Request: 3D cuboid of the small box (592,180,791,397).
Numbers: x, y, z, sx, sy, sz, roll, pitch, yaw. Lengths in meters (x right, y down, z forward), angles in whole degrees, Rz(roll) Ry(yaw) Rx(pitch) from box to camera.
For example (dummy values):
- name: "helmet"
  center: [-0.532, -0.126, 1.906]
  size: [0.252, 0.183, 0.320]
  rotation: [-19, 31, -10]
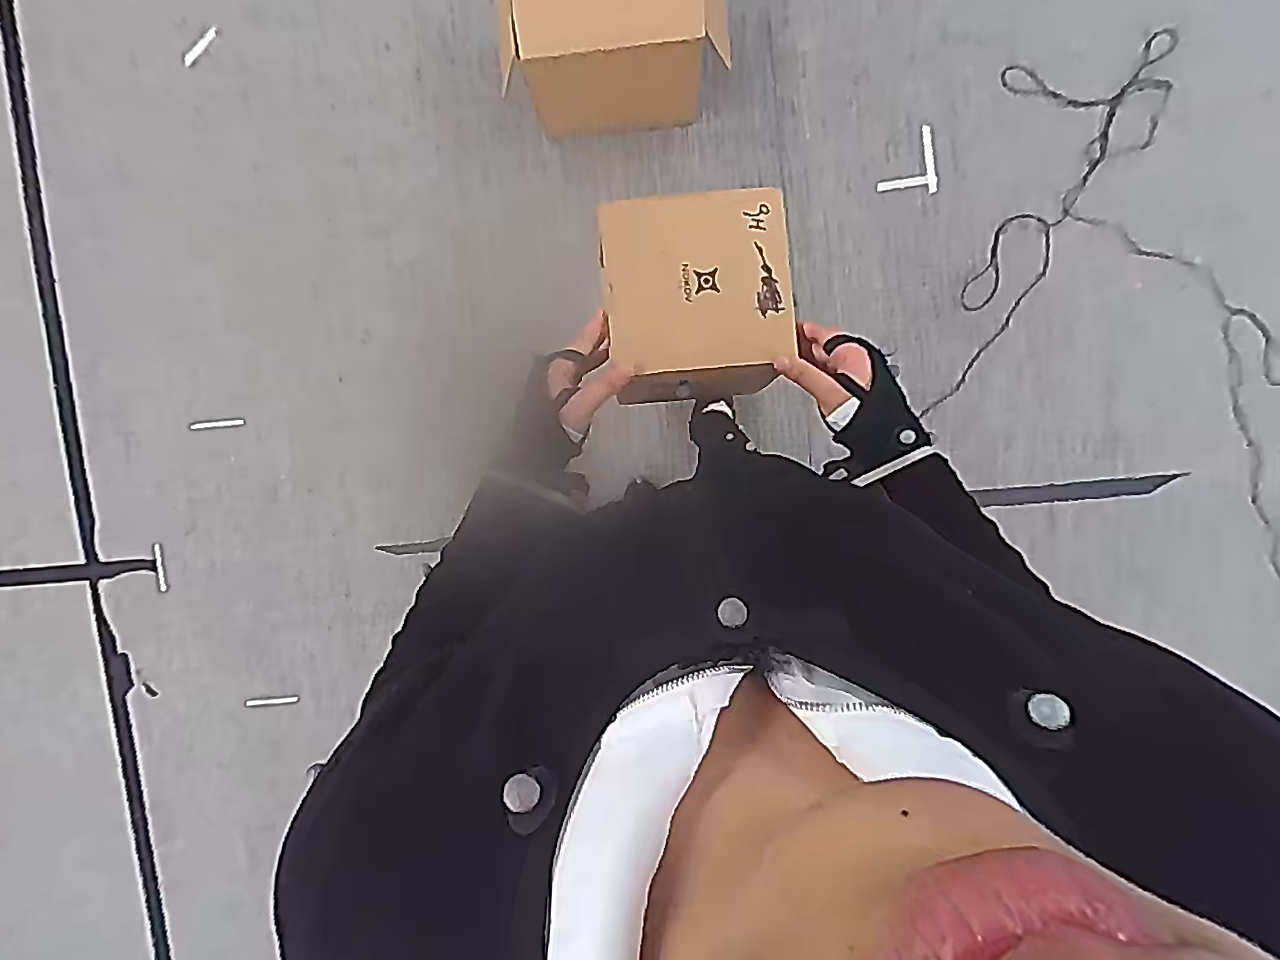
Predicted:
- name: "small box"
  center: [0.049, -0.189, 0.582]
  size: [0.179, 0.176, 0.168]
  rotation: [-5, 89, 0]
